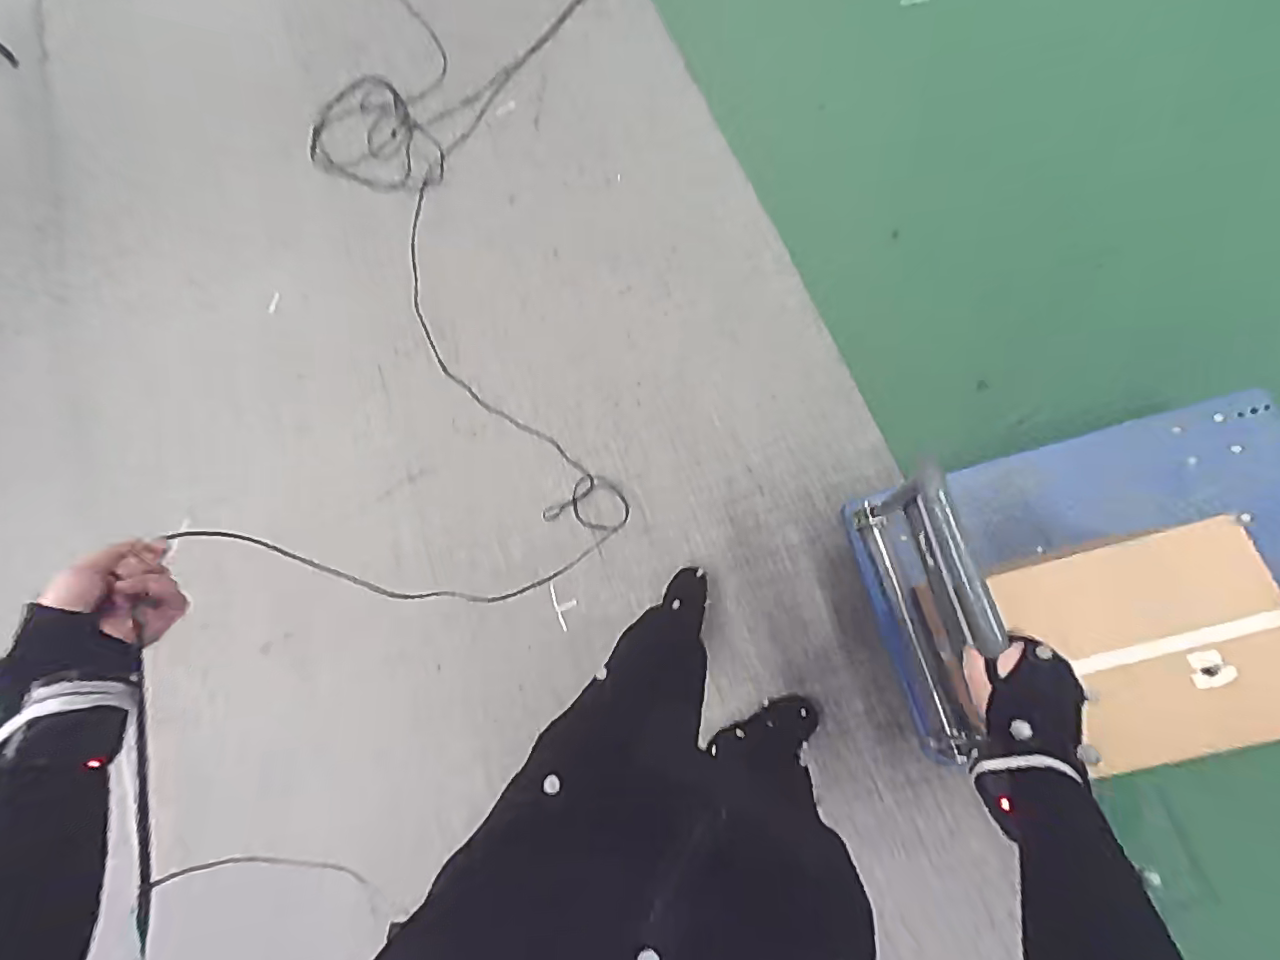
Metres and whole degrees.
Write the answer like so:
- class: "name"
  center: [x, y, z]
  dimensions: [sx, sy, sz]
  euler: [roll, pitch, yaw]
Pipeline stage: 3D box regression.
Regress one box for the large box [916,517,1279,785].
- class: "large box"
  center: [0.795, 0.293, 0.974]
  dimensions: [0.408, 0.320, 0.320]
  euler: [-18, 76, 8]
